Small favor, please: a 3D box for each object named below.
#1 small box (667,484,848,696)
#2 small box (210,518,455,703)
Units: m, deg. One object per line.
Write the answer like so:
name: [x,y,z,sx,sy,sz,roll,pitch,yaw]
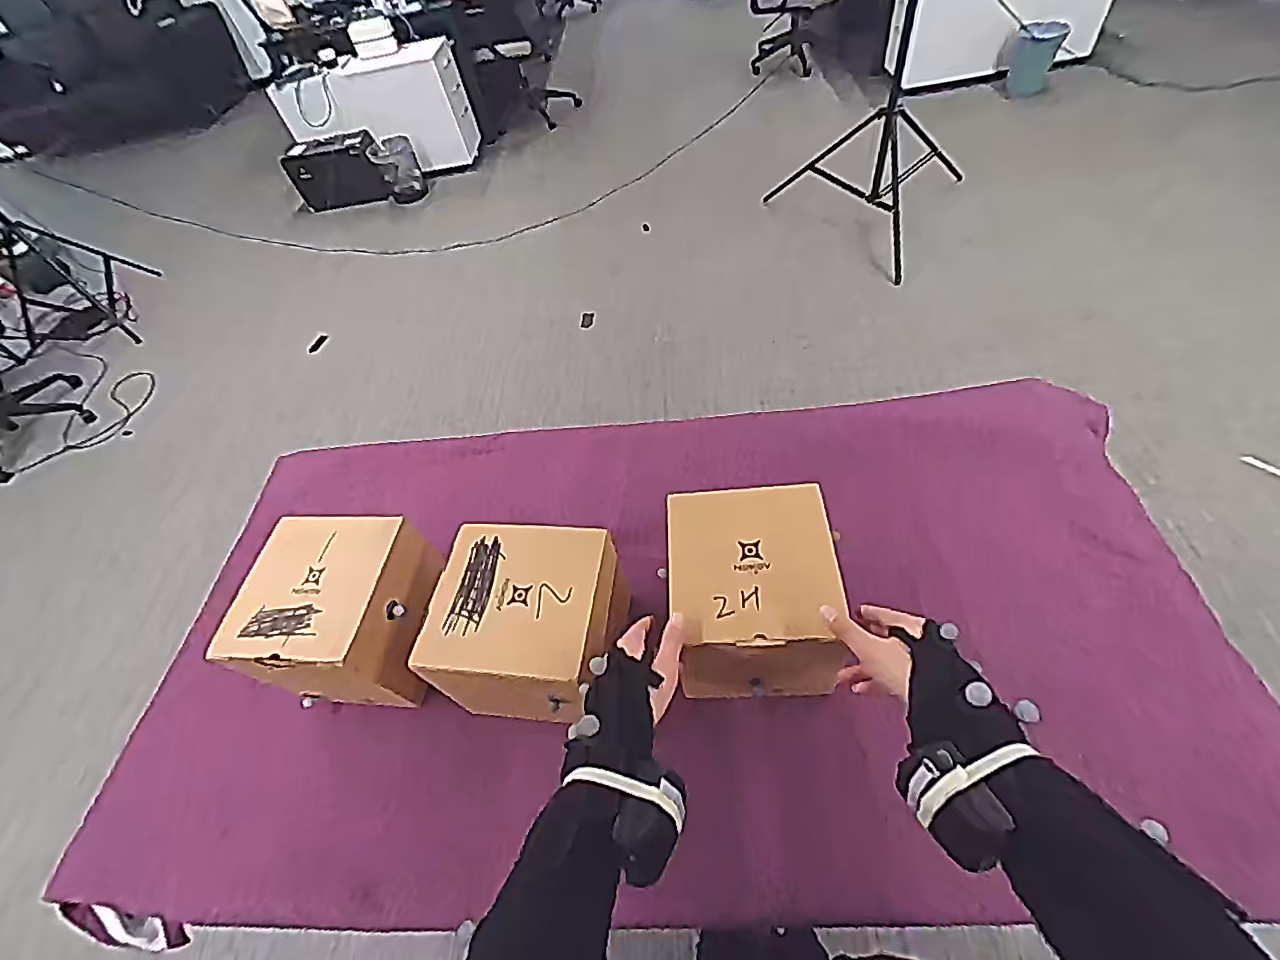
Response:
small box: [0.120,0.127,0.605,0.168,0.176,0.179,-5,52,8]
small box: [-0.353,0.163,0.665,0.168,0.176,0.179,0,53,10]
